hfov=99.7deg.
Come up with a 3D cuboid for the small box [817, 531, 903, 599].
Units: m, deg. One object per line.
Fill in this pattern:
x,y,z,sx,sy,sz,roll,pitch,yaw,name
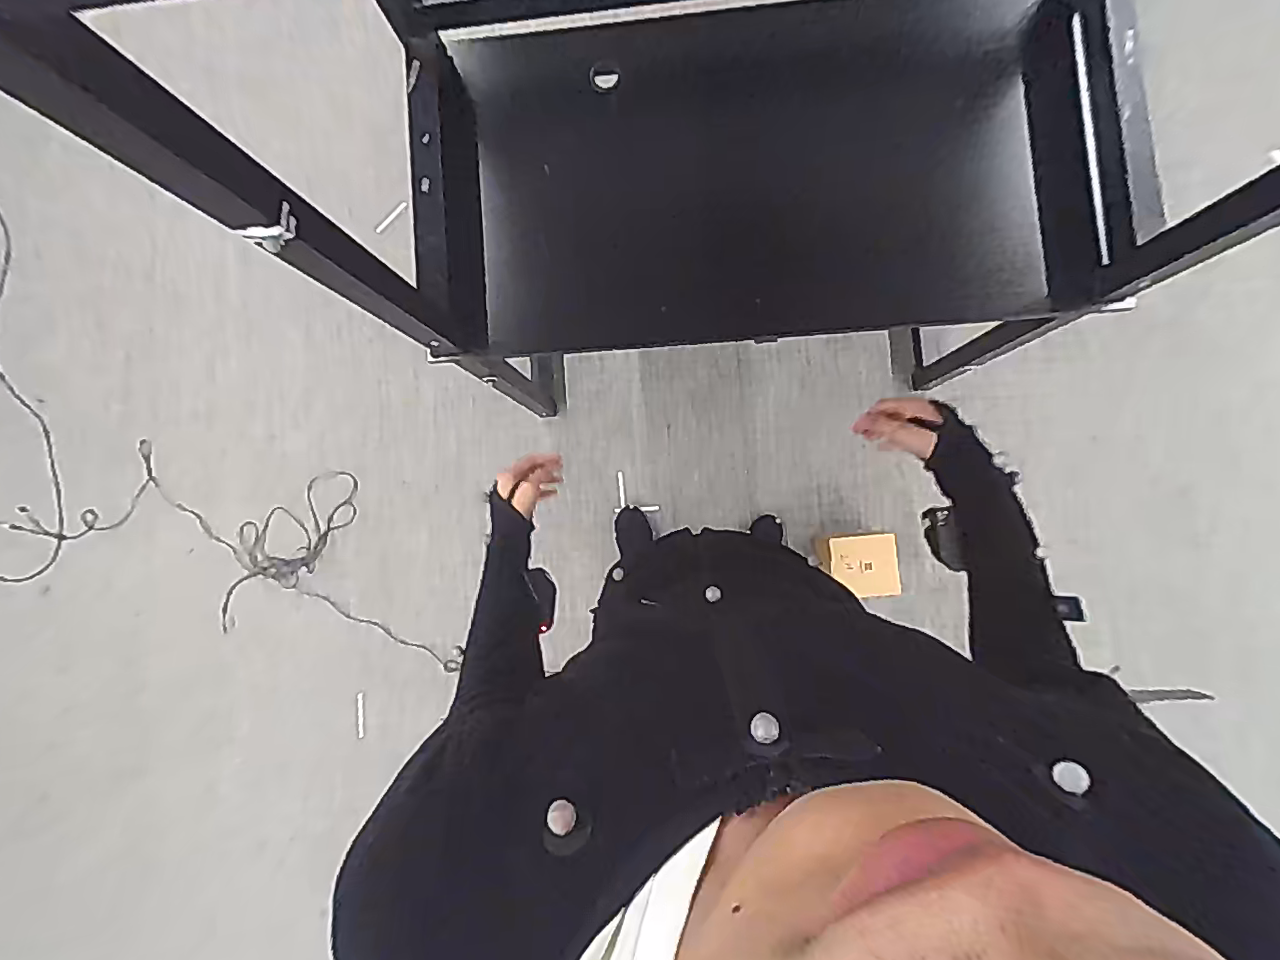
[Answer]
0.613,0.235,1.523,0.179,0.176,0.168,-6,87,5,small box
